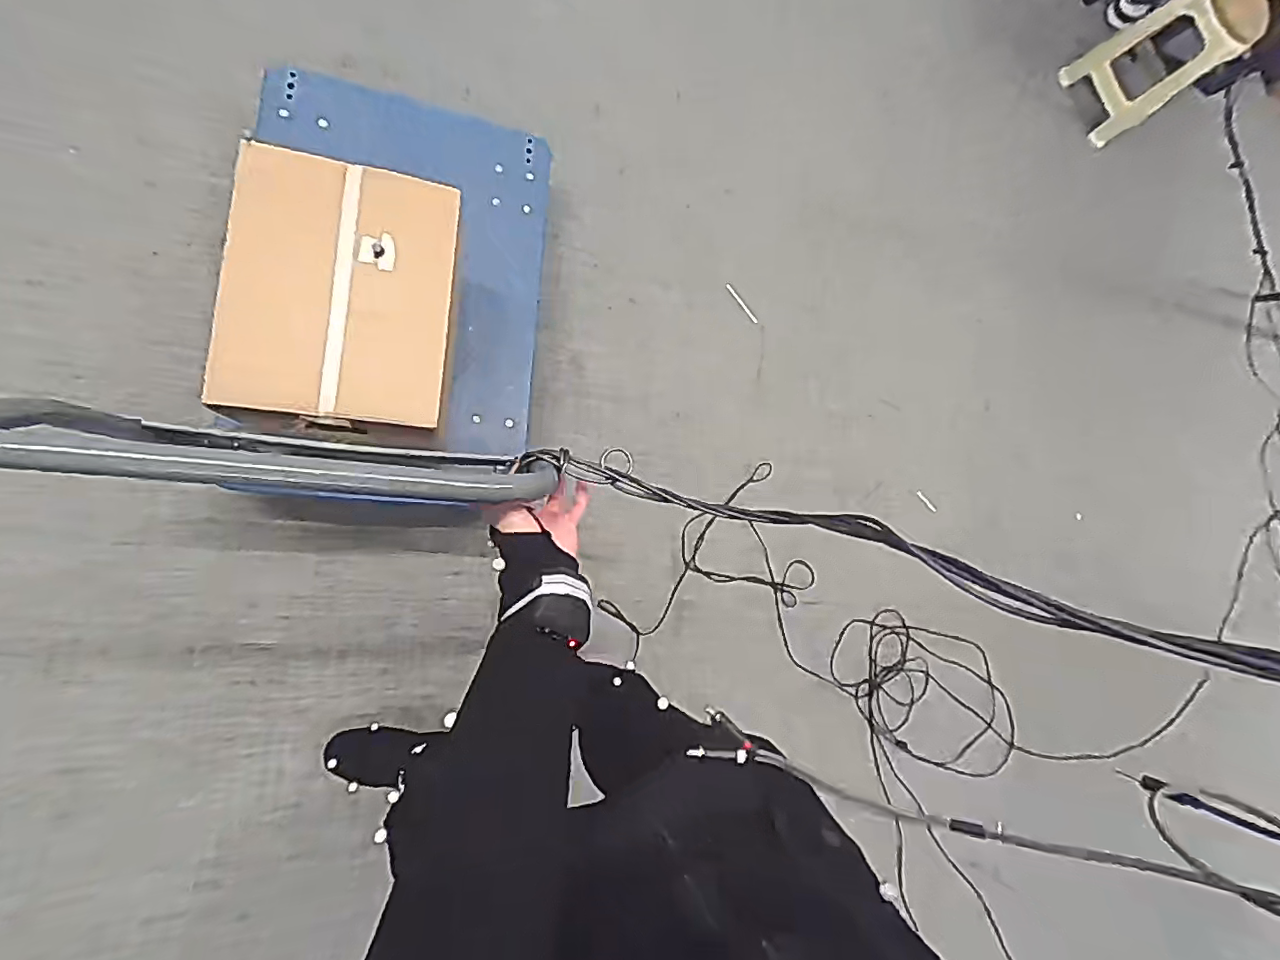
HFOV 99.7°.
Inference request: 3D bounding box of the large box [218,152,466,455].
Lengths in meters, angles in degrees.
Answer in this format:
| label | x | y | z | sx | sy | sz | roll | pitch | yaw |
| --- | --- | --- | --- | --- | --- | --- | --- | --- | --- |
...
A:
| label | x | y | z | sx | sy | sz | roll | pitch | yaw |
| --- | --- | --- | --- | --- | --- | --- | --- | --- | --- |
| large box | -0.490 | -0.272 | 0.974 | 0.320 | 0.320 | 0.408 | 5 | 82 | -18 |
